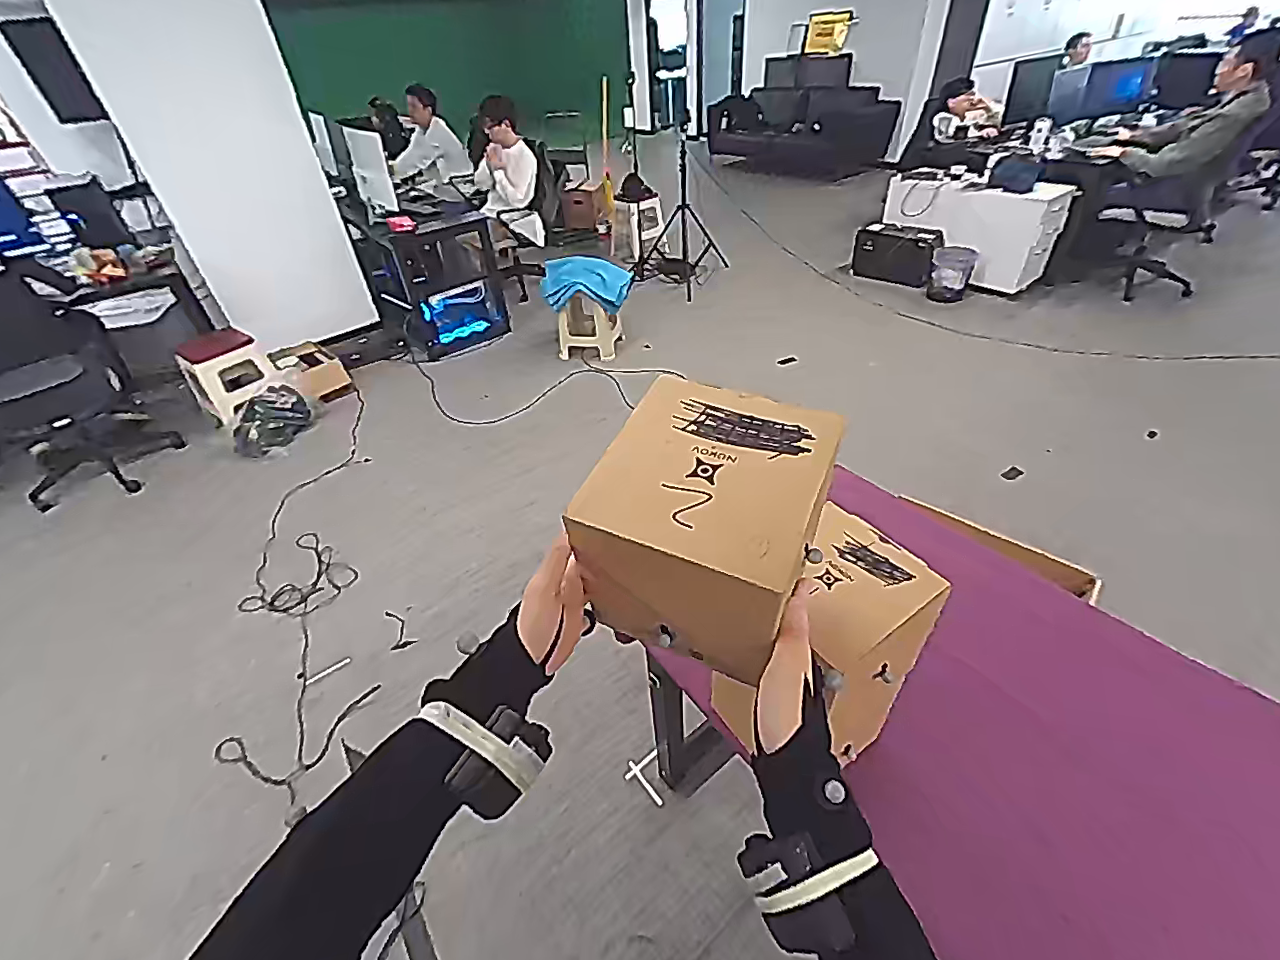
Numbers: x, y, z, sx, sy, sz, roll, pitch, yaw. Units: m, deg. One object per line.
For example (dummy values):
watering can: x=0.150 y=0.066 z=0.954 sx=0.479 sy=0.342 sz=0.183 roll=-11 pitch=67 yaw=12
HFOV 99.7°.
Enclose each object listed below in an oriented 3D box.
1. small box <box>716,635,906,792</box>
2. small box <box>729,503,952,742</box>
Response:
small box: x=0.221 y=0.291 z=0.742 sx=0.168 sy=0.176 sz=0.179 roll=-25 pitch=44 yaw=-23
small box: x=0.219 y=0.164 z=0.637 sx=0.179 sy=0.176 sz=0.168 roll=-27 pitch=45 yaw=-23
